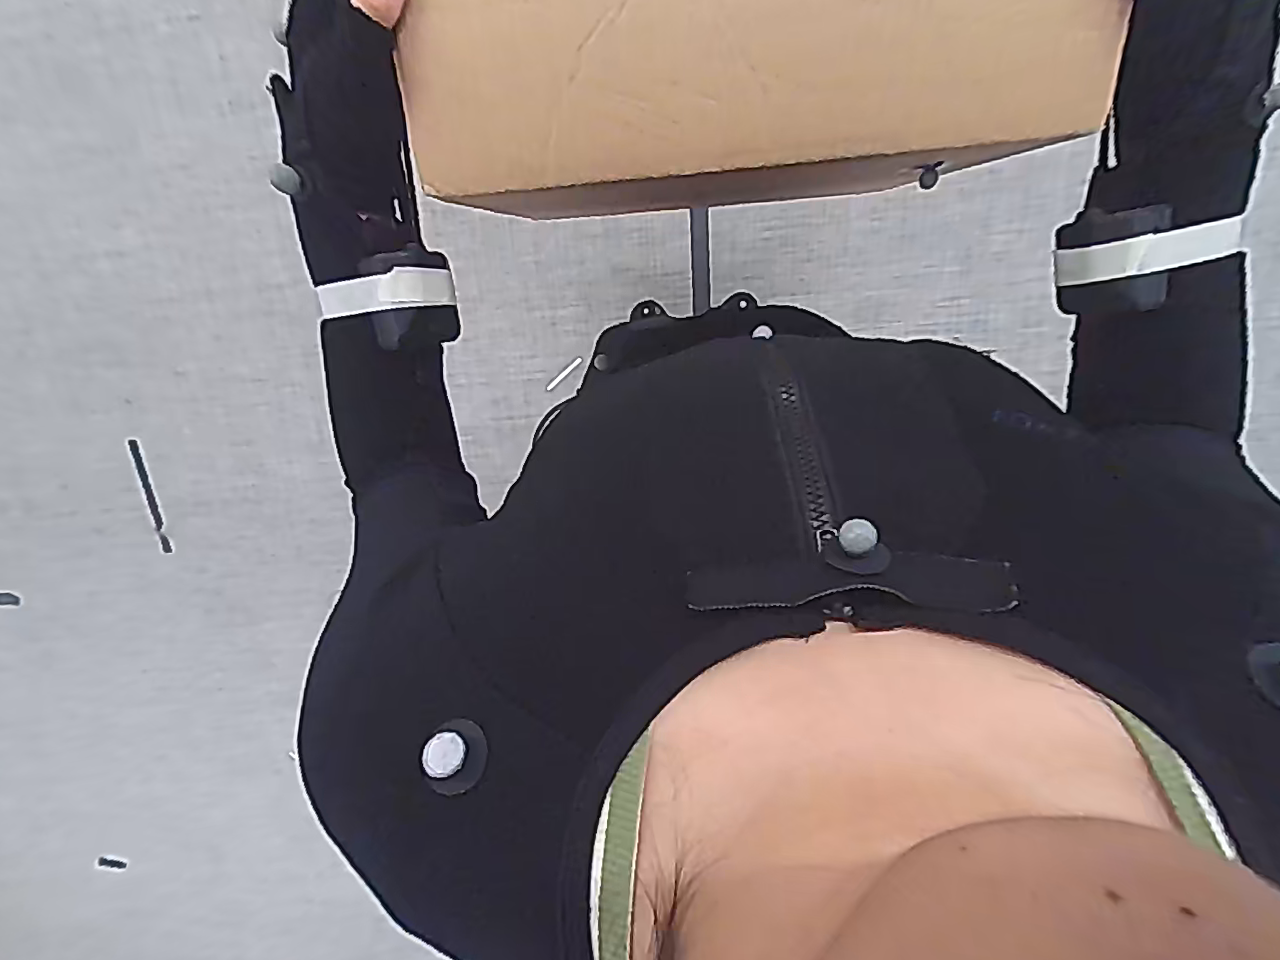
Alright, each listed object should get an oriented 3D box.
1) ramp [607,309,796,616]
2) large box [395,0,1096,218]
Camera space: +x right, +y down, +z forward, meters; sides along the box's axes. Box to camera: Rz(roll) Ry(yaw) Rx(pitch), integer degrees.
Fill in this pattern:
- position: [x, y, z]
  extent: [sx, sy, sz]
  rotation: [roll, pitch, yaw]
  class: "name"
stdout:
- position: [0.198, 0.015, 1.618]
  extent: [0.509, 0.206, 0.991]
  rotation: [-5, 108, 4]
  class: "ramp"
- position: [0.058, -0.395, 0.417]
  extent: [0.408, 0.320, 0.320]
  rotation: [-4, 113, 4]
  class: "large box"
